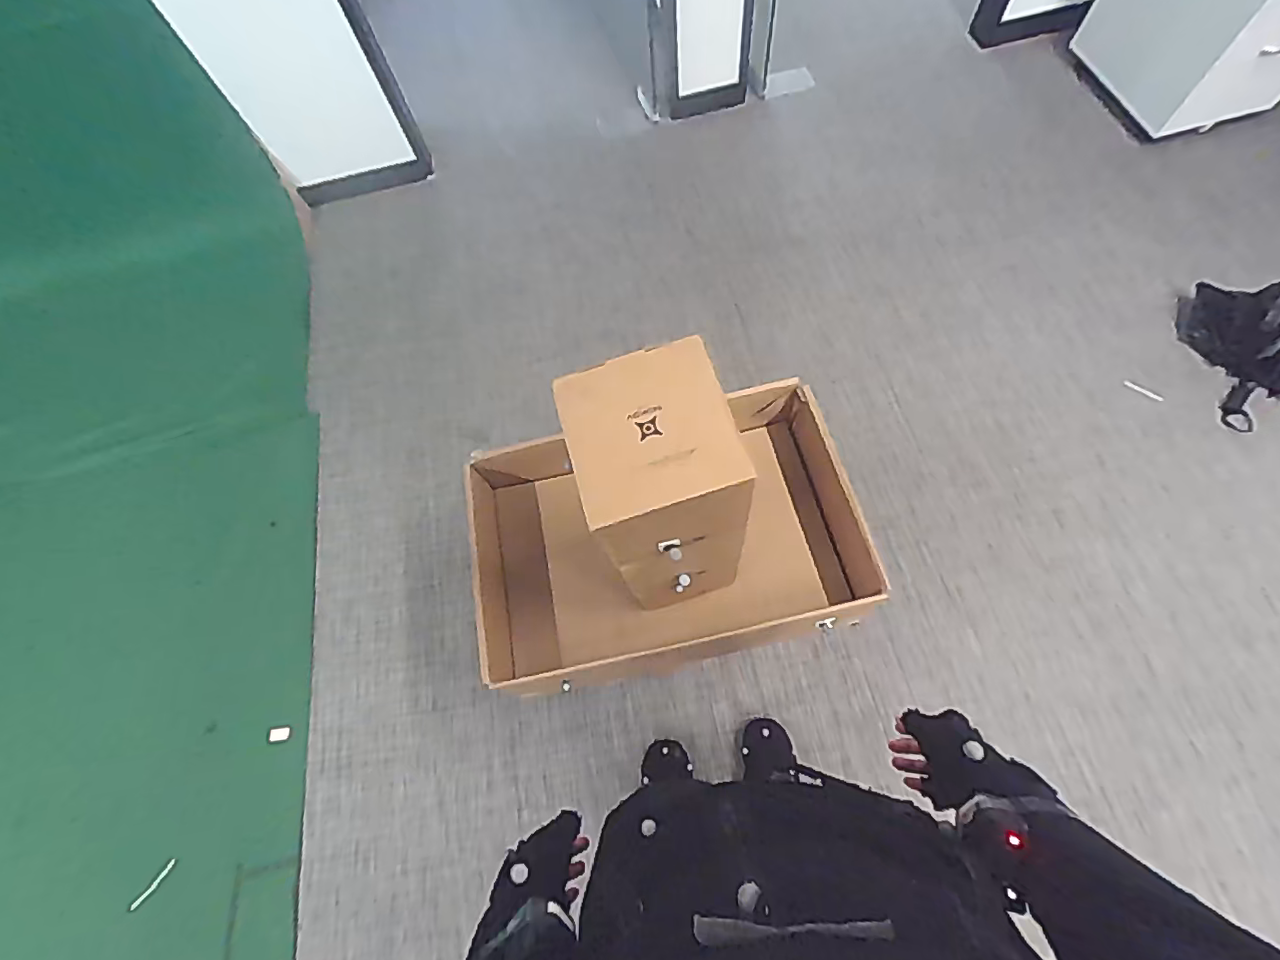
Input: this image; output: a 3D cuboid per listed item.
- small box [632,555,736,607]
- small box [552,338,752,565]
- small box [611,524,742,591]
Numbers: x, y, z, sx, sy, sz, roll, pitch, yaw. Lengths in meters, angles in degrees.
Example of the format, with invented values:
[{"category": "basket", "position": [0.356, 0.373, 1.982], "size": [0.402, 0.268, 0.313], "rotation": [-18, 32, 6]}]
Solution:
[{"category": "small box", "position": [0.054, 0.097, 0.914], "size": [0.168, 0.176, 0.179], "rotation": [-19, 65, 1]}, {"category": "small box", "position": [0.015, -0.023, 0.614], "size": [0.168, 0.176, 0.179], "rotation": [-18, 67, 1]}, {"category": "small box", "position": [0.033, 0.039, 0.762], "size": [0.168, 0.176, 0.179], "rotation": [-17, 67, 0]}]
